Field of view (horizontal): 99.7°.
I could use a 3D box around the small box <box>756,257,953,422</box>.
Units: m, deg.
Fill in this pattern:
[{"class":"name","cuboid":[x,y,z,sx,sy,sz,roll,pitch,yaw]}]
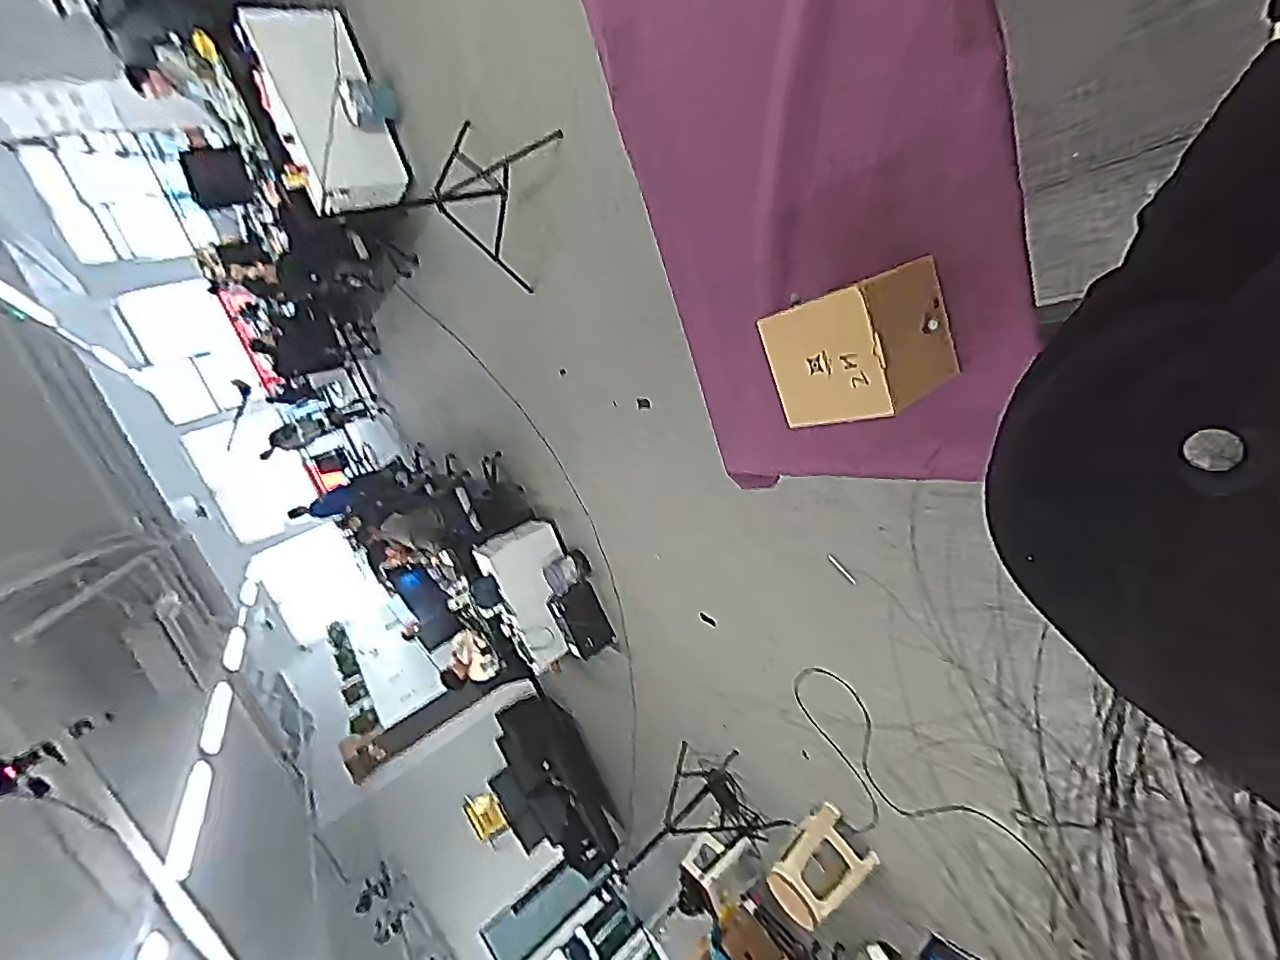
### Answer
[{"class":"small box","cuboid":[0.301,-0.193,0.766,0.179,0.176,0.168,-1,114,58]}]
